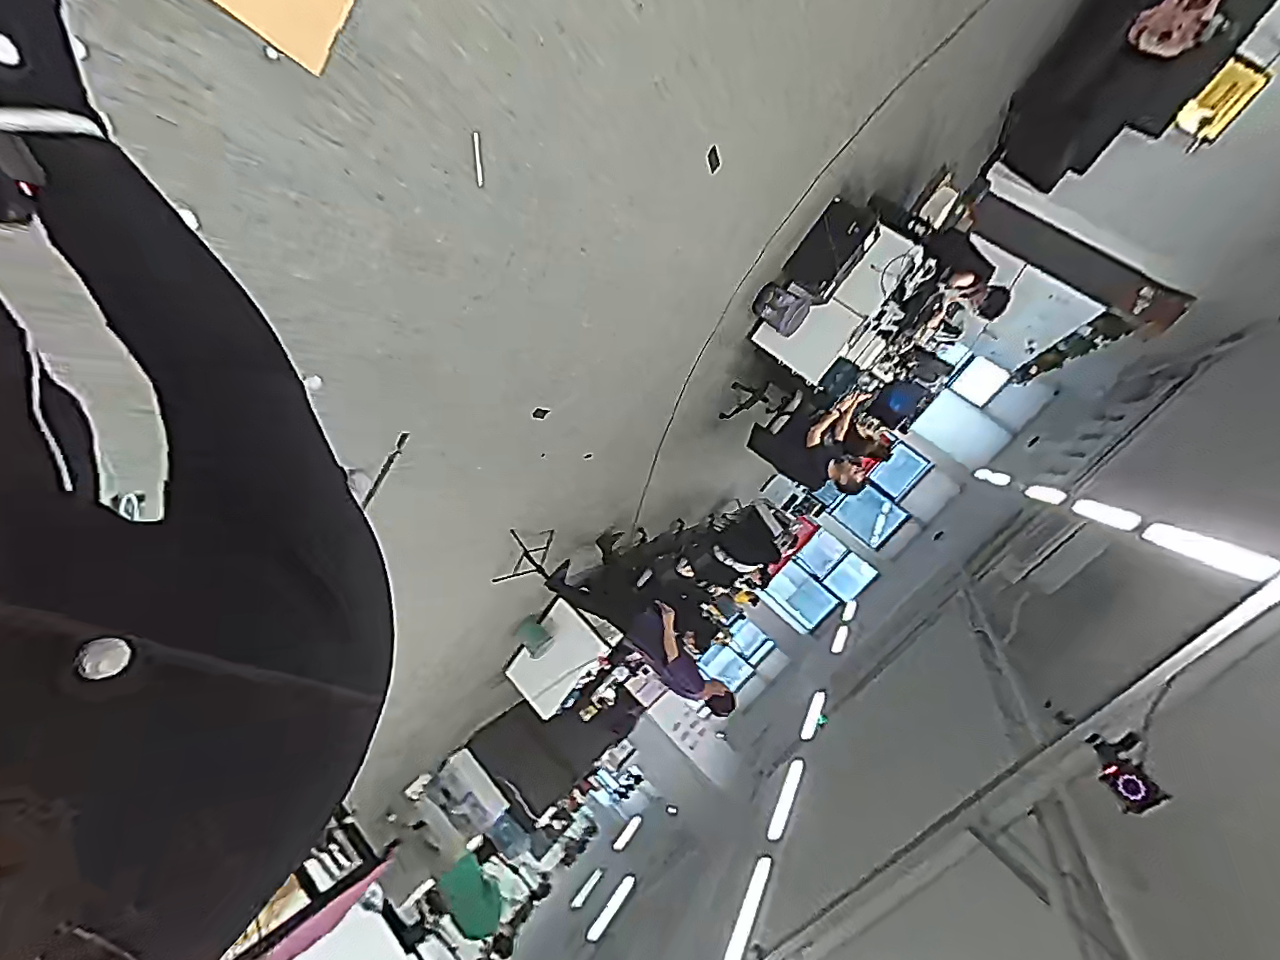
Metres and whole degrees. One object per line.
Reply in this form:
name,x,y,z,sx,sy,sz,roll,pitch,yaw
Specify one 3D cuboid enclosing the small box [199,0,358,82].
small box,-0.446,-0.607,0.602,0.168,0.176,0.179,-54,163,15
